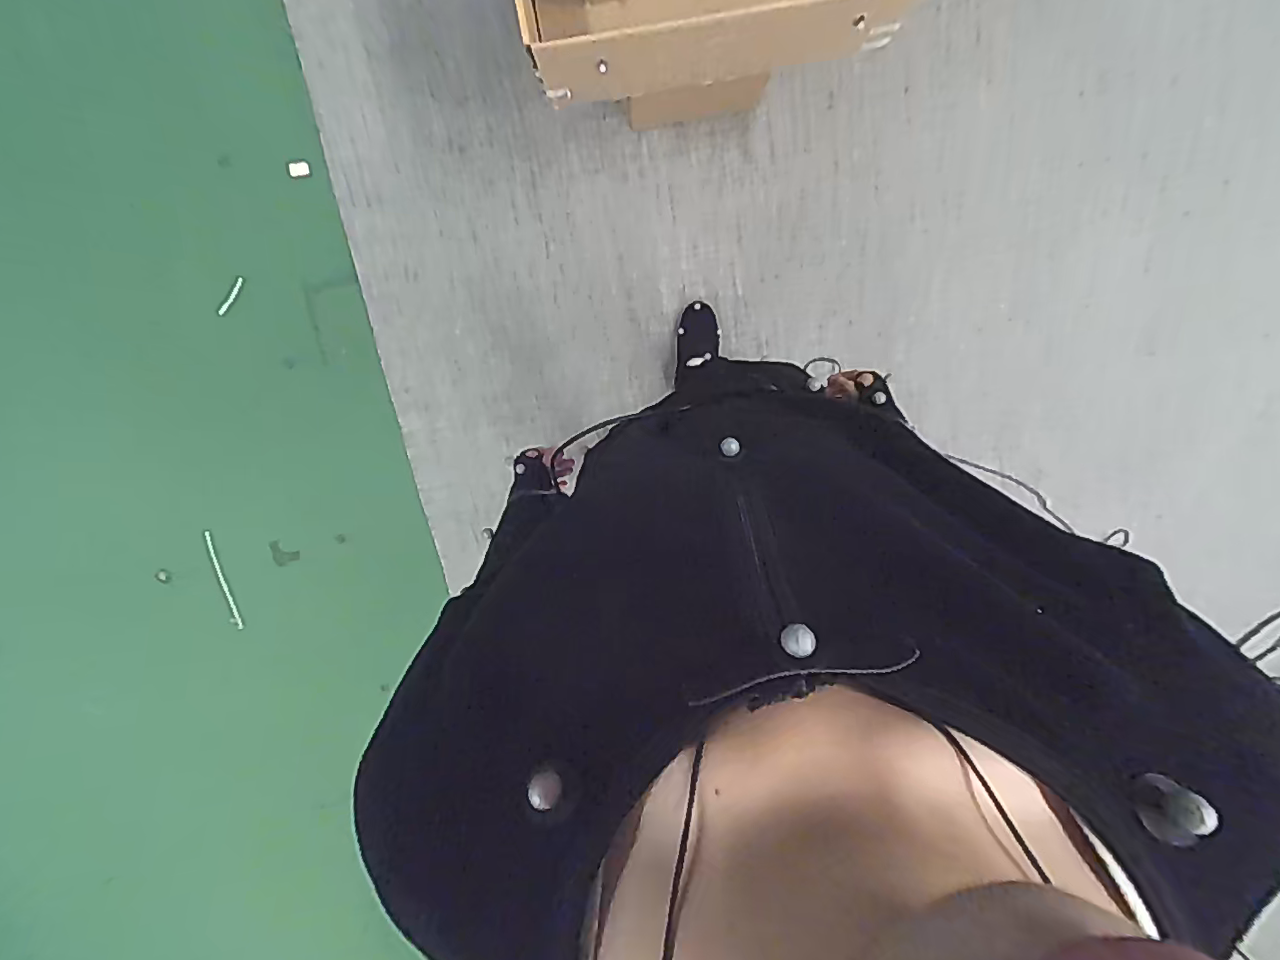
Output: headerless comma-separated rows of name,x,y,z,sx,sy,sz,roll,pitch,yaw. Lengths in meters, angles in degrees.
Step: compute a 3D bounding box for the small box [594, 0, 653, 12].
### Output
small box,-0.014,-0.857,0.800,0.168,0.176,0.179,-12,103,3
